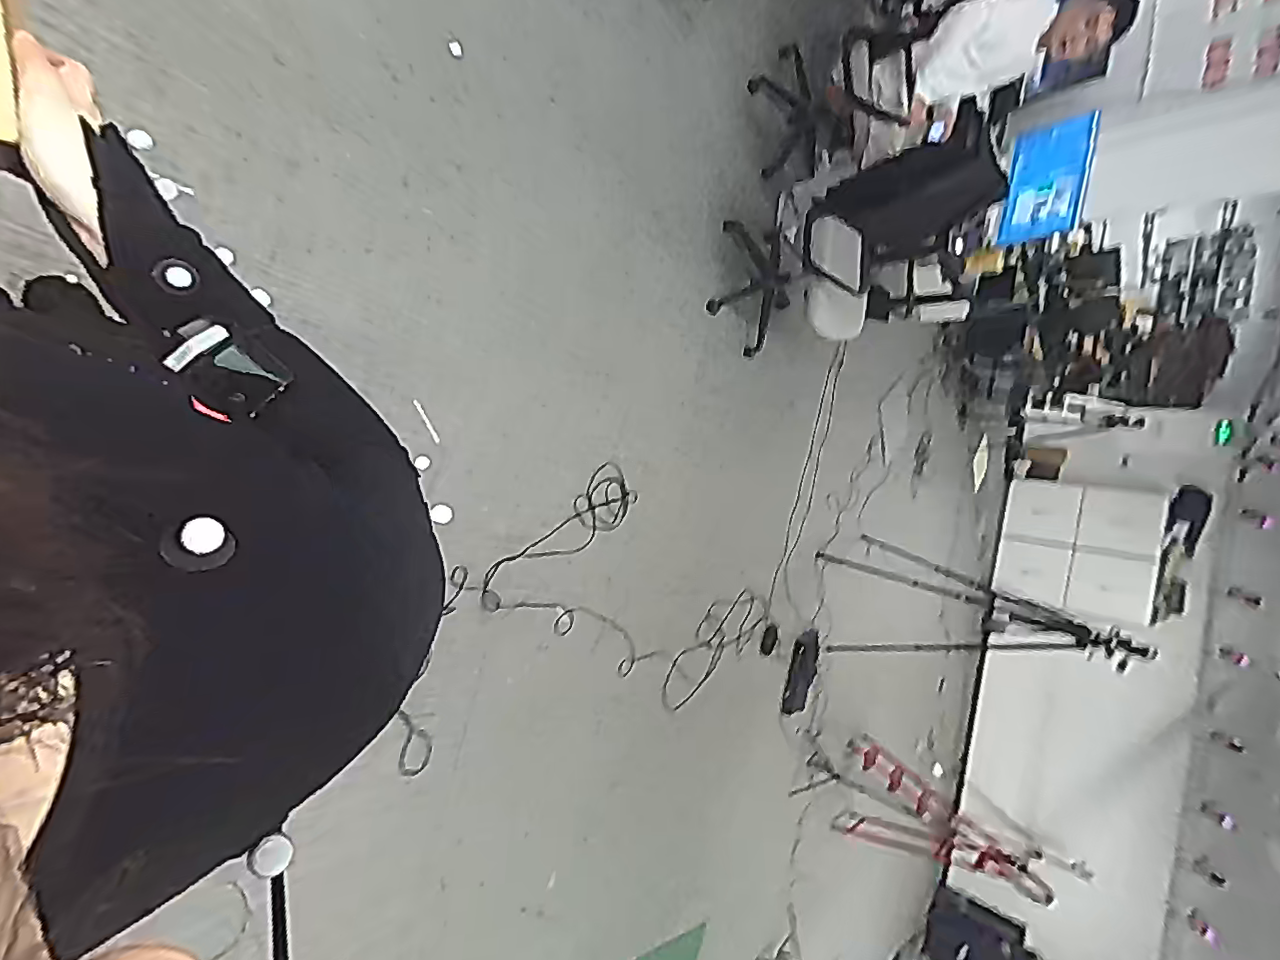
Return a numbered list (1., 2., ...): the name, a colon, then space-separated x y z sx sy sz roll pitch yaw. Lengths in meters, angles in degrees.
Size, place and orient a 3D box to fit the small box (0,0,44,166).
1. small box: -0.441 -0.282 0.275 0.168 0.176 0.179 -8 111 -43
